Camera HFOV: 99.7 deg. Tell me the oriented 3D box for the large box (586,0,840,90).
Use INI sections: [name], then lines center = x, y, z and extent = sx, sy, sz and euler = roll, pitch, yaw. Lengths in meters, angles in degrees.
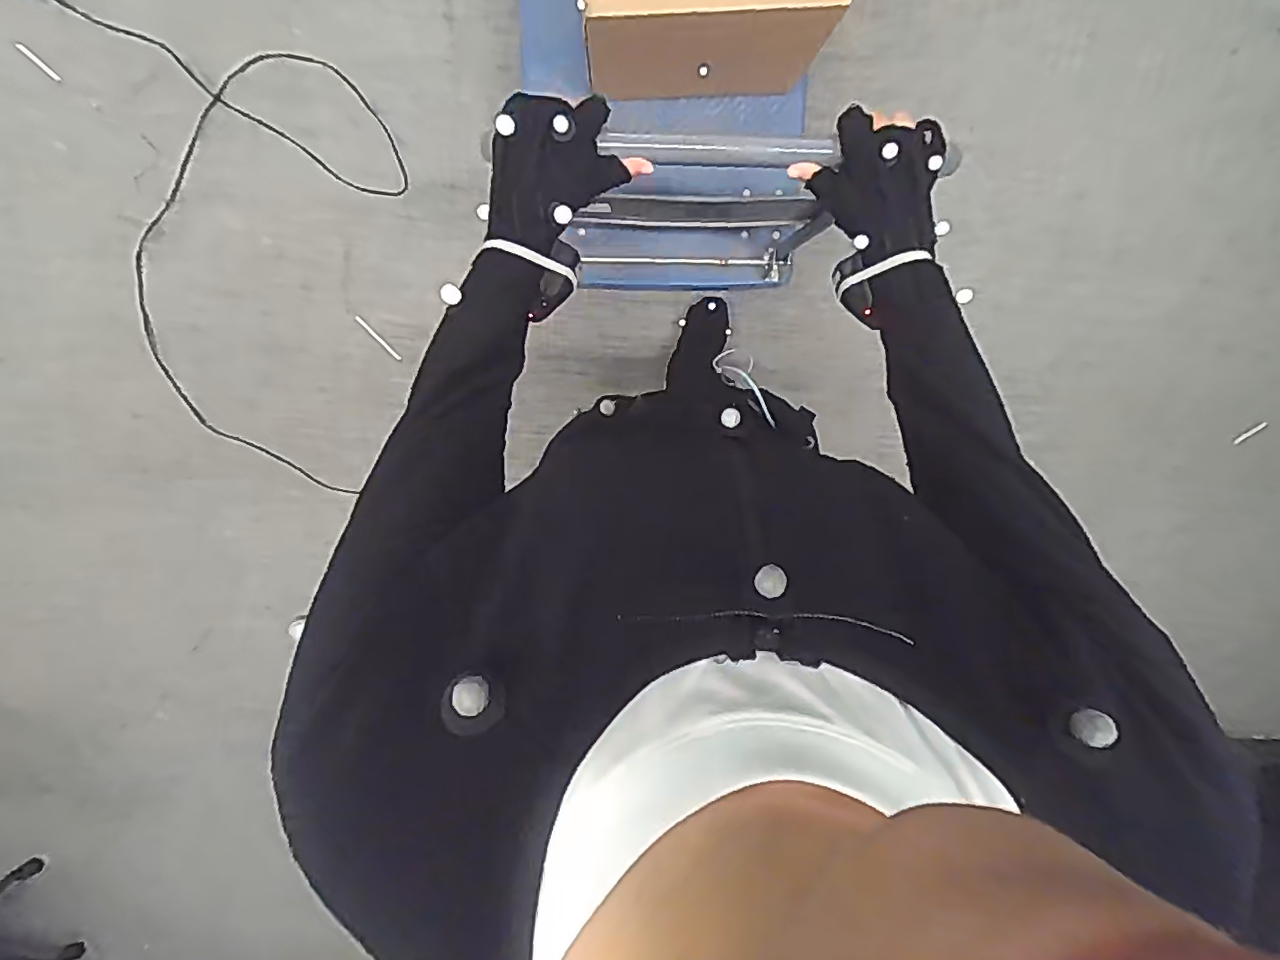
[large box]
center = 0.105, -0.909, 0.915
extent = 0.408, 0.320, 0.320
euler = -4, 106, 0
